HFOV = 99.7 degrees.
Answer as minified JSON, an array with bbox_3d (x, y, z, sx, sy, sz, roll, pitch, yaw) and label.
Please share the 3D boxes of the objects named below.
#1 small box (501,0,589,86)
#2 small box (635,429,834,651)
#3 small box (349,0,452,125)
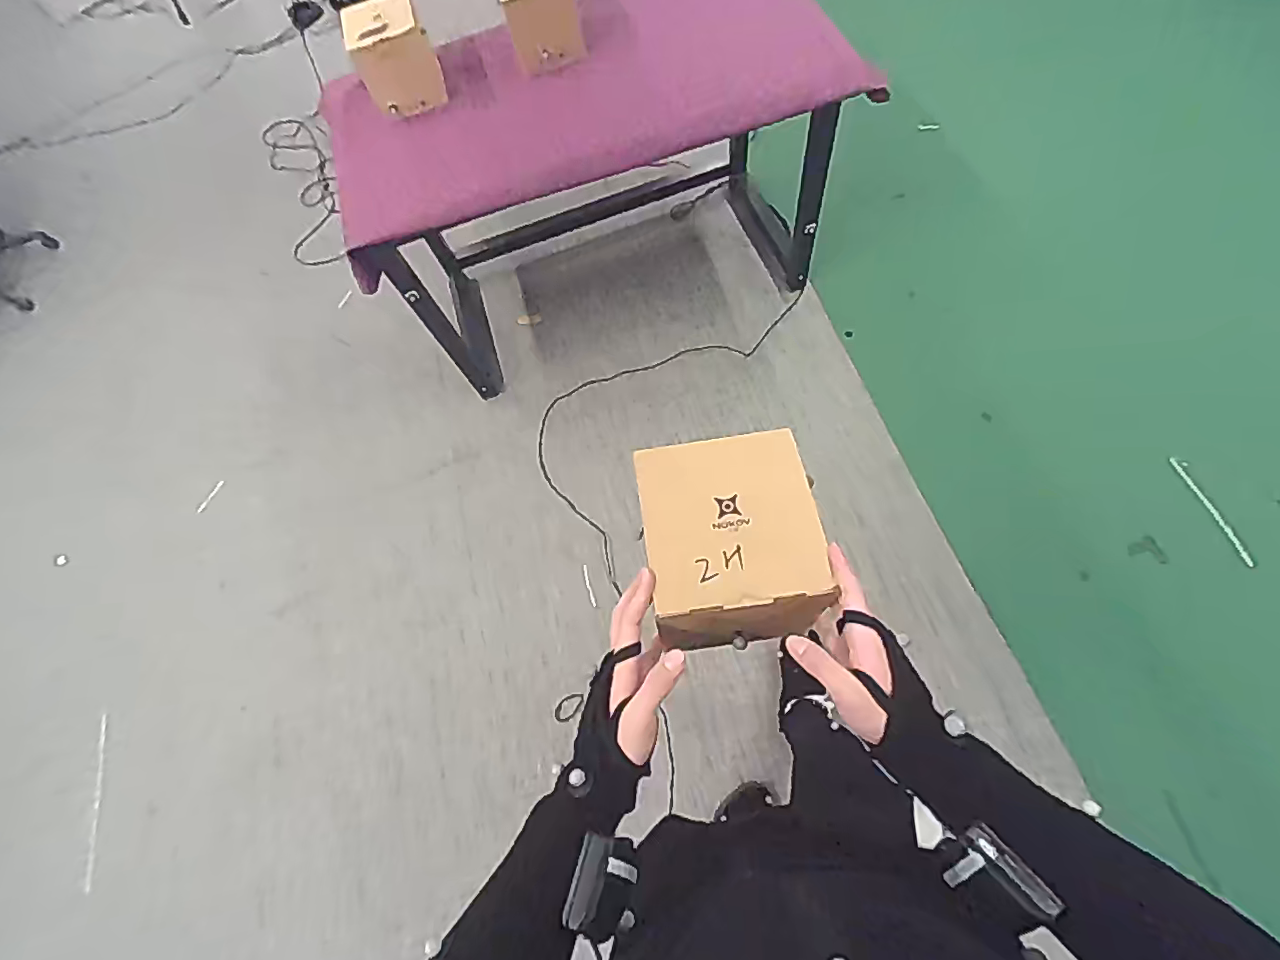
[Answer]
[{"bbox_3d":[-0.235,-1.108,1.309,0.168,0.176,0.179,-18,67,2],"label":"small box"},{"bbox_3d":[0.089,0.071,0.585,0.168,0.176,0.179,-8,60,2],"label":"small box"},{"bbox_3d":[-0.577,-1.001,1.314,0.168,0.176,0.179,-18,66,0],"label":"small box"}]
